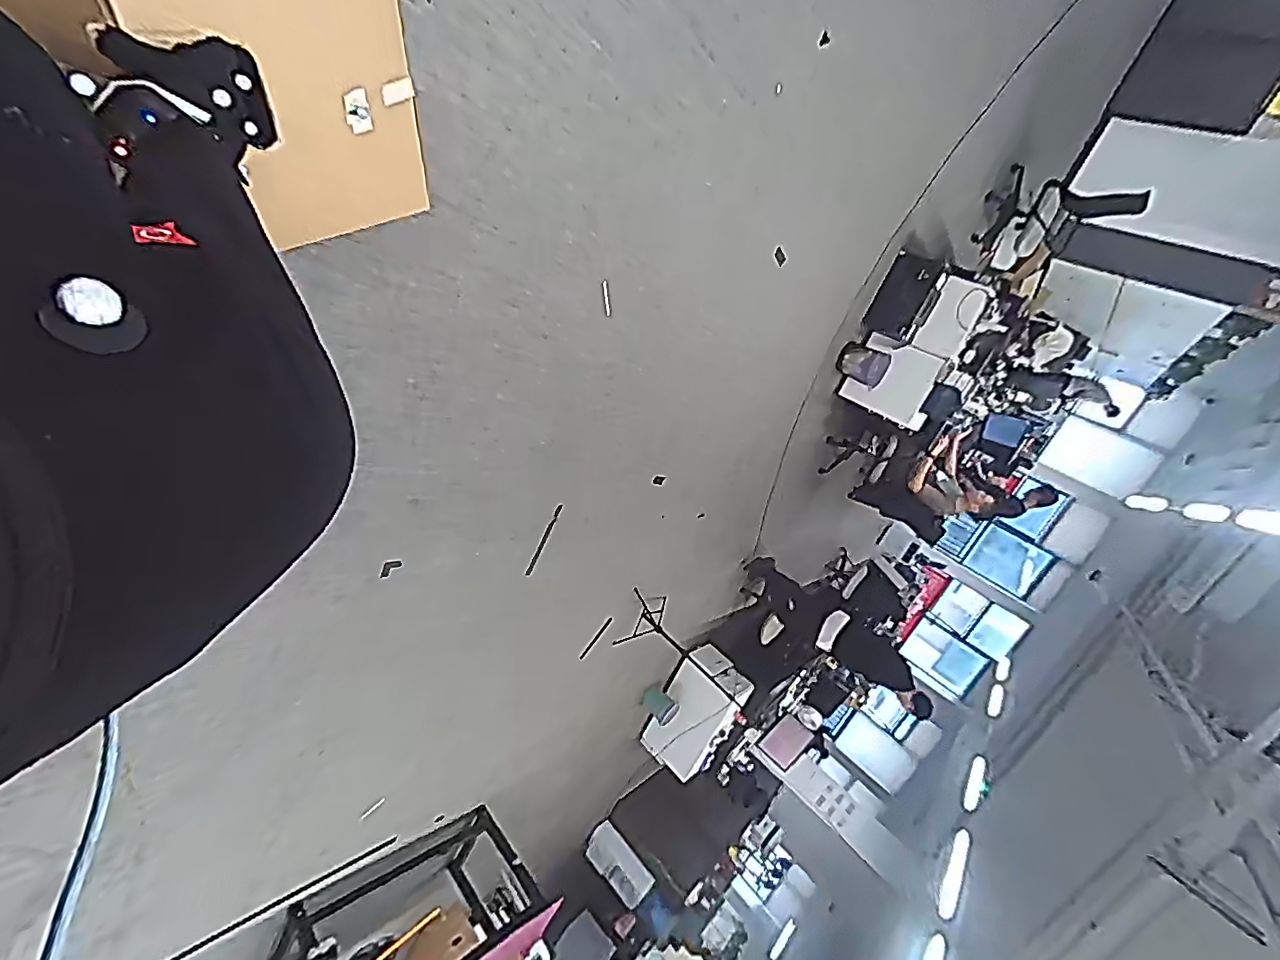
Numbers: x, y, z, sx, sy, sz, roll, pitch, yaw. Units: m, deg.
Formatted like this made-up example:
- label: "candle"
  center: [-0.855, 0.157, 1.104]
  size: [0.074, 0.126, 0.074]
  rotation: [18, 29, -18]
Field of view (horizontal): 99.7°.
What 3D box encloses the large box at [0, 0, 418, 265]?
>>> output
- label: "large box"
  center: [-0.563, -0.518, 0.686]
  size: [0.320, 0.408, 0.320]
  rotation: [-45, 153, -41]
